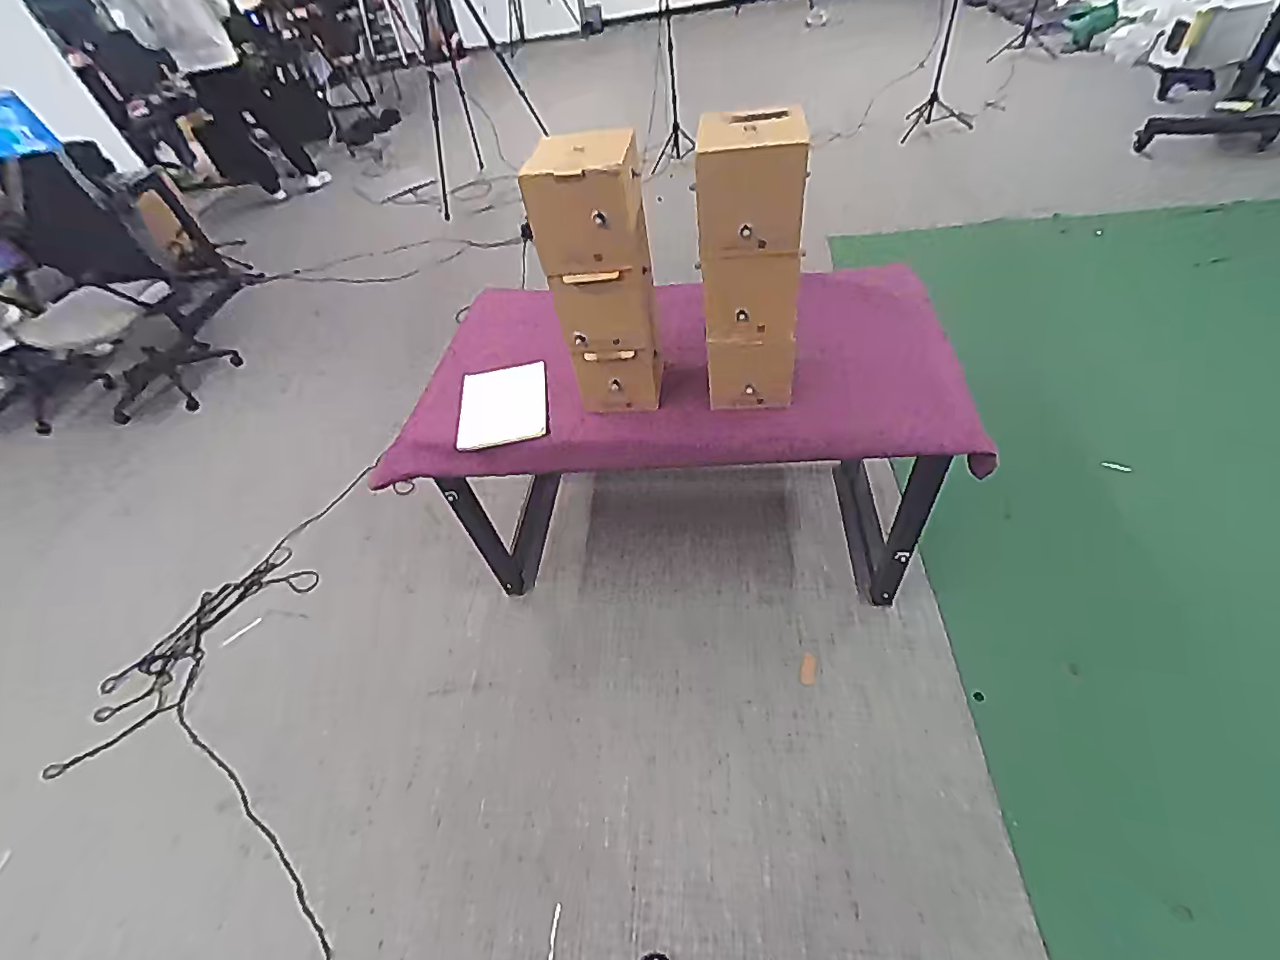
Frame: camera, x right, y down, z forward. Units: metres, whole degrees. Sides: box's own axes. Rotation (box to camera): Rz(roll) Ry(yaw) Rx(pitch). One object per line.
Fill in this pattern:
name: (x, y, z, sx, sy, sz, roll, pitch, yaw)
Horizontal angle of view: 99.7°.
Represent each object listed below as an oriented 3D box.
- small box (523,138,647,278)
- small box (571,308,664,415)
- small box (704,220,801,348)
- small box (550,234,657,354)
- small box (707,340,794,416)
small box: (-0.083, -0.465, 0.941, 0.168, 0.176, 0.179, 1, 48, 10)
small box: (-0.040, -0.255, 1.189, 0.168, 0.176, 0.179, 0, 49, 9)
small box: (0.208, -0.369, 1.025, 0.168, 0.176, 0.179, 0, 48, 10)
small box: (-0.062, -0.360, 1.064, 0.168, 0.176, 0.179, 0, 47, 10)
small box: (0.231, -0.254, 1.139, 0.168, 0.176, 0.179, -1, 47, 11)
